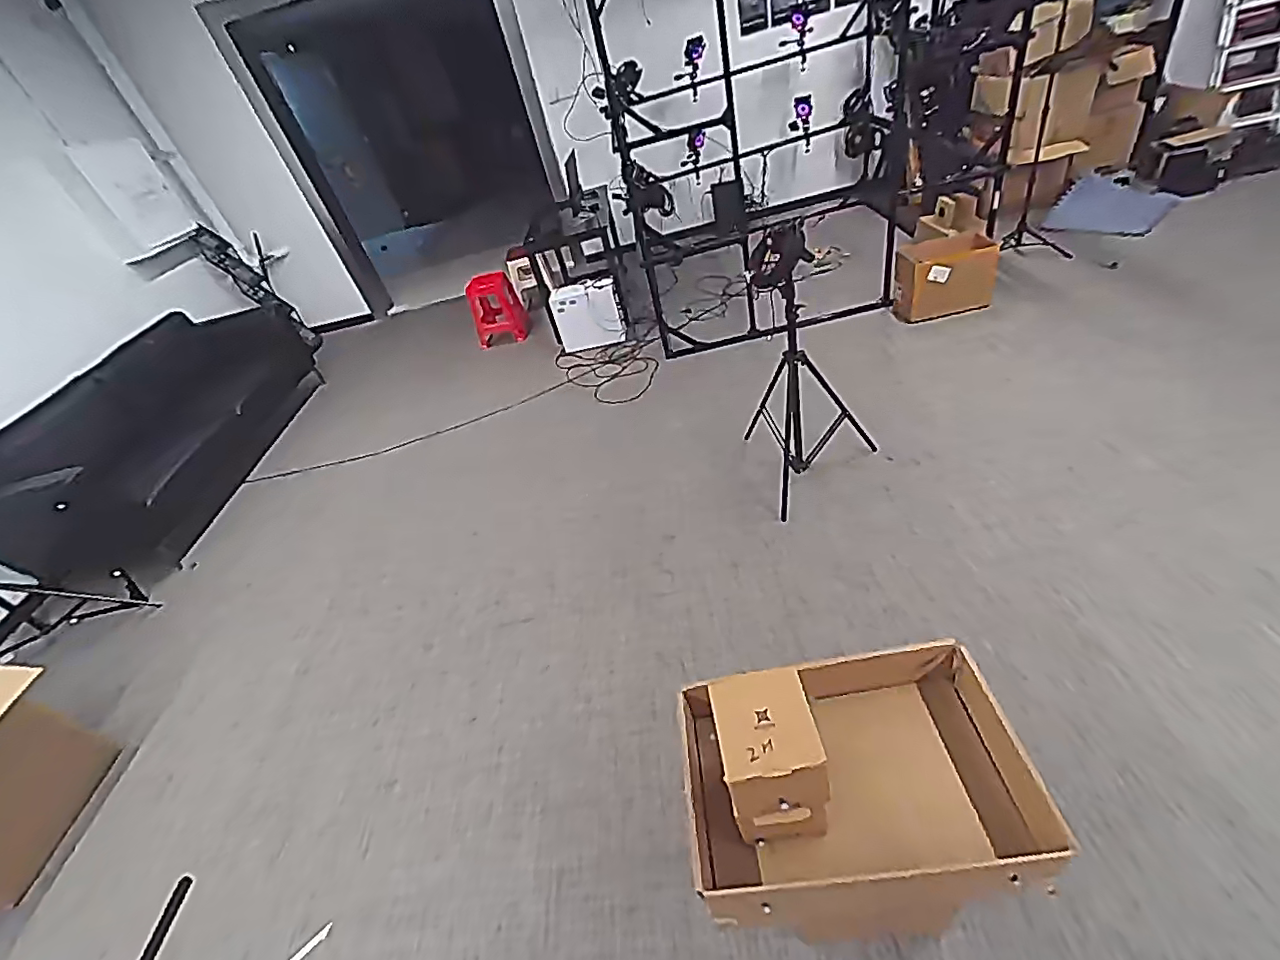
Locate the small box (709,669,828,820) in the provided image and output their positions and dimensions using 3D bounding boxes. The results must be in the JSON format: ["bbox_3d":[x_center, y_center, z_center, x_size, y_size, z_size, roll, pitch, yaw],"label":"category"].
[{"bbox_3d":[0.228,0.474,0.970,0.168,0.176,0.179,-14,39,6],"label":"small box"}]

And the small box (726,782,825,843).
[{"bbox_3d":[0.261,0.596,1.076,0.168,0.176,0.179,-13,38,6],"label":"small box"}]
